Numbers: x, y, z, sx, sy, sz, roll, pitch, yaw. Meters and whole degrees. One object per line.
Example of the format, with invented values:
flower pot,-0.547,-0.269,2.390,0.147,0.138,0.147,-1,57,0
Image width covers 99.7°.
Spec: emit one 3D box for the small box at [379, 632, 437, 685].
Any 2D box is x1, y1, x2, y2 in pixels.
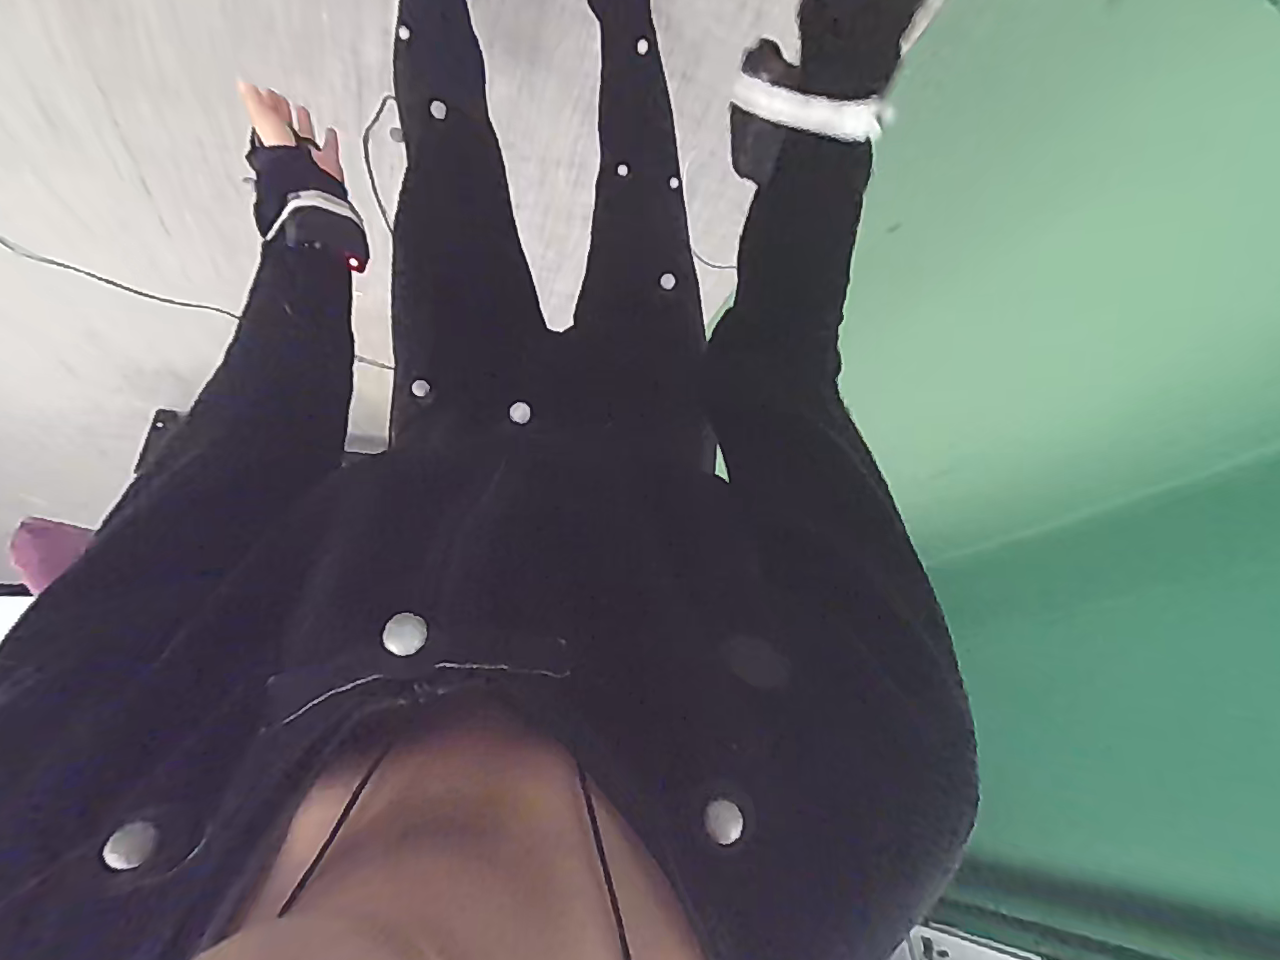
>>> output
small box,-0.856,0.662,2.006,0.179,0.176,0.168,5,154,-18
